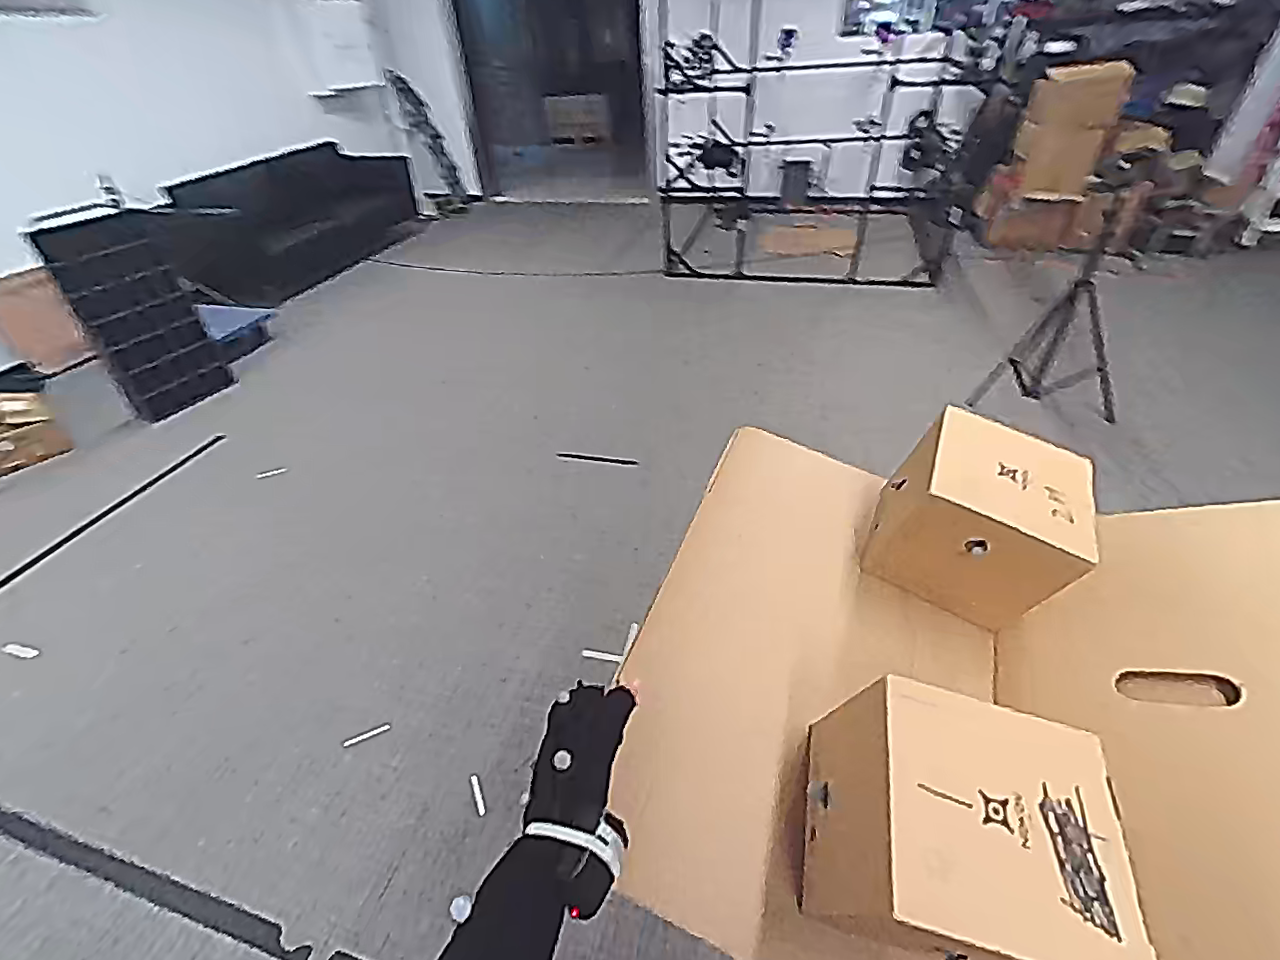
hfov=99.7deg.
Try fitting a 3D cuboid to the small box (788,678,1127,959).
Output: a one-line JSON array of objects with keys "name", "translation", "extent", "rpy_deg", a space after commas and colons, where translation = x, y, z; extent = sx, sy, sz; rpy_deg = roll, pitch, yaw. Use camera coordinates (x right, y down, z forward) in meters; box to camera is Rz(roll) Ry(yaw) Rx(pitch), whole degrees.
[{"name": "small box", "translation": [0.245, 0.297, 0.464], "extent": [0.179, 0.176, 0.168], "rpy_deg": [15, 51, 4]}]
